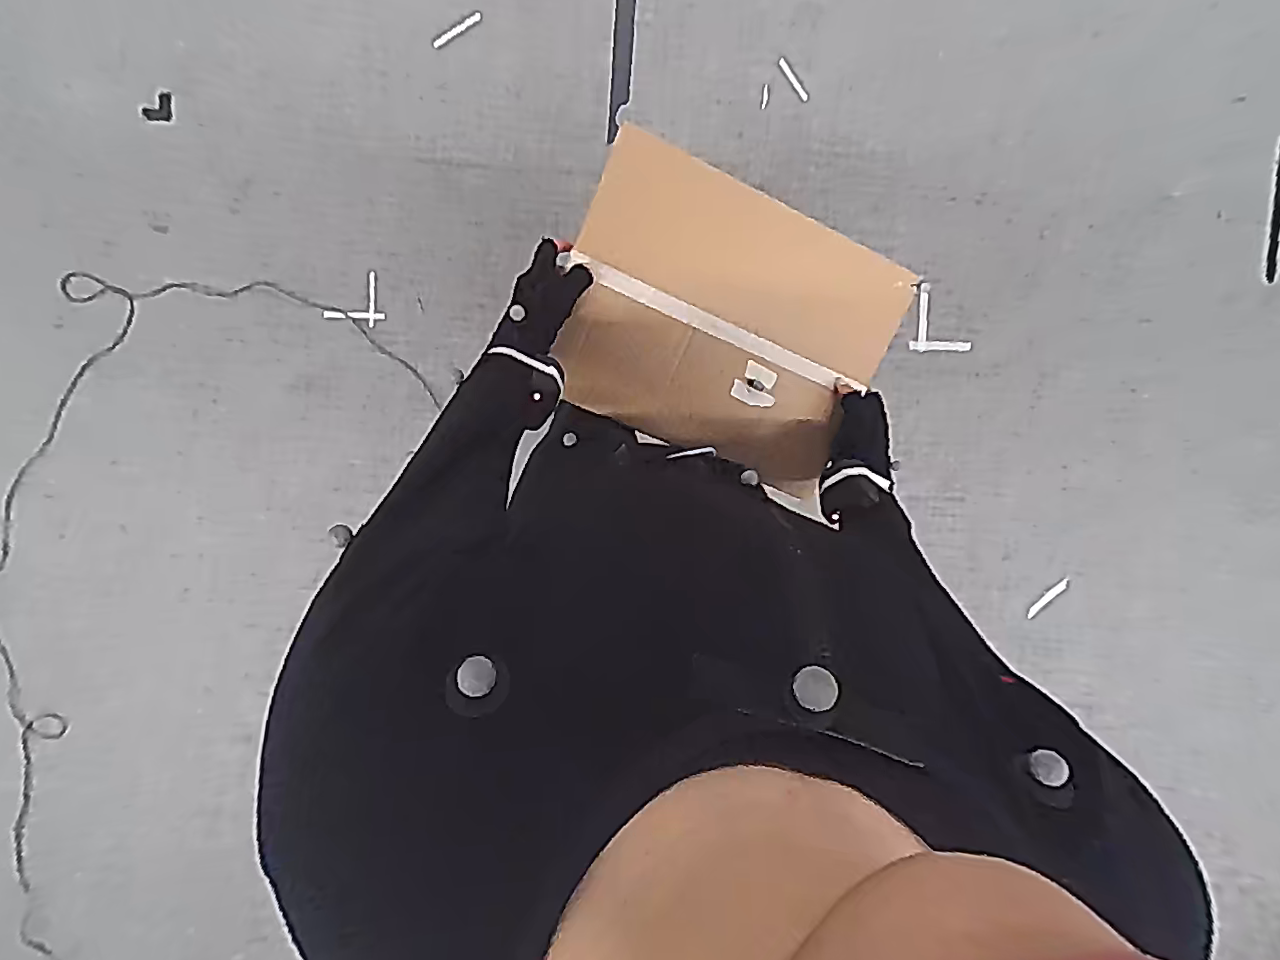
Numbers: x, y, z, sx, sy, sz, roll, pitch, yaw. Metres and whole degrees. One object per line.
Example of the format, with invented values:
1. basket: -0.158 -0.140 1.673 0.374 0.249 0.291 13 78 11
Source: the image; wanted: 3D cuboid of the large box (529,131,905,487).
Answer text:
1. large box: 0.083 -0.232 0.819 0.408 0.320 0.320 22 103 -11
